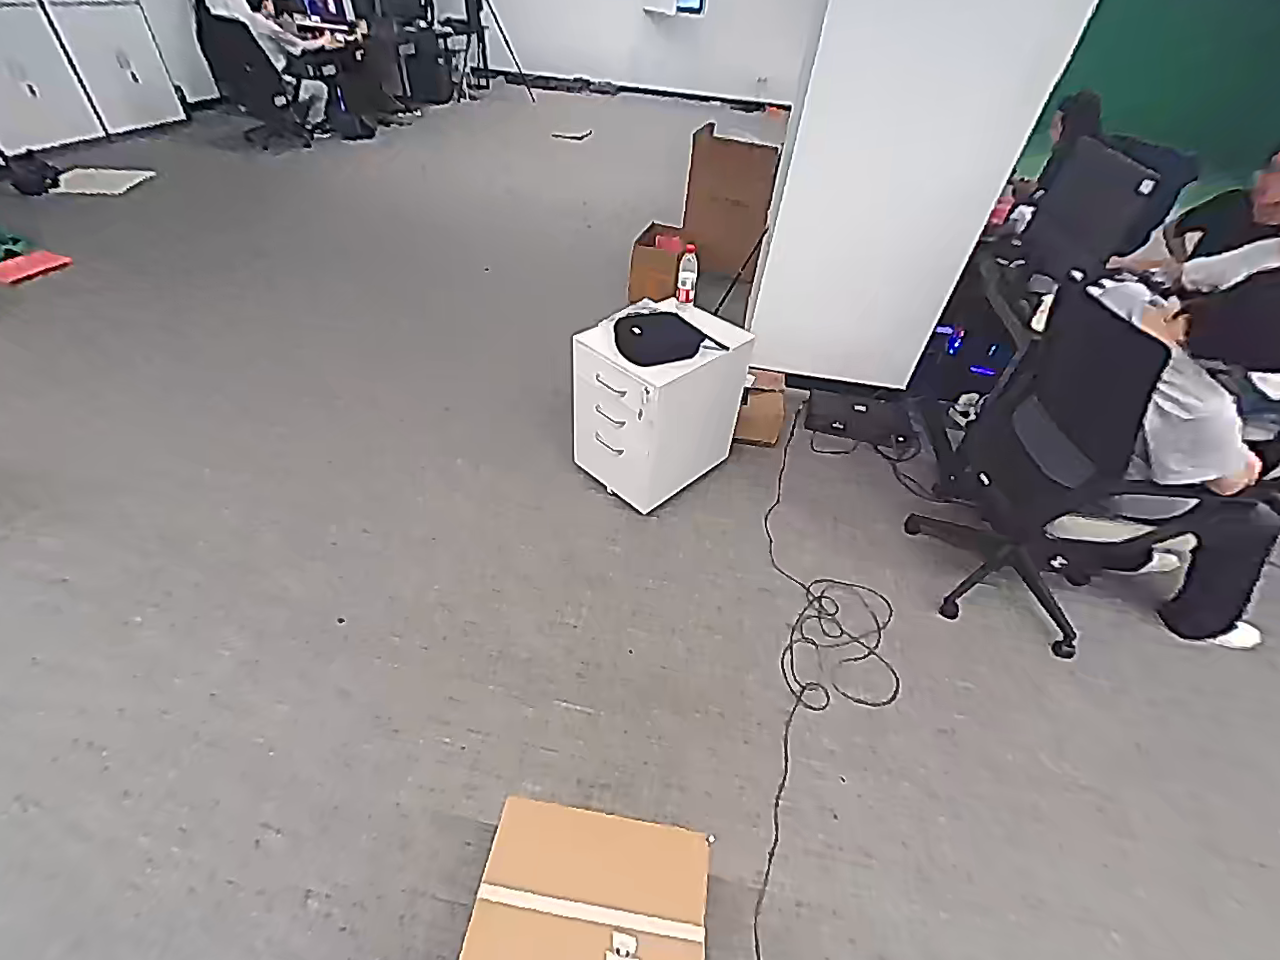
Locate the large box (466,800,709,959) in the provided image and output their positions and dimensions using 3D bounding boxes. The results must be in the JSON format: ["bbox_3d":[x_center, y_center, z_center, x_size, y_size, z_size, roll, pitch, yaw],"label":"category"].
[{"bbox_3d":[-0.096,0.872,1.052,0.408,0.320,0.320,9,43,3],"label":"large box"}]
